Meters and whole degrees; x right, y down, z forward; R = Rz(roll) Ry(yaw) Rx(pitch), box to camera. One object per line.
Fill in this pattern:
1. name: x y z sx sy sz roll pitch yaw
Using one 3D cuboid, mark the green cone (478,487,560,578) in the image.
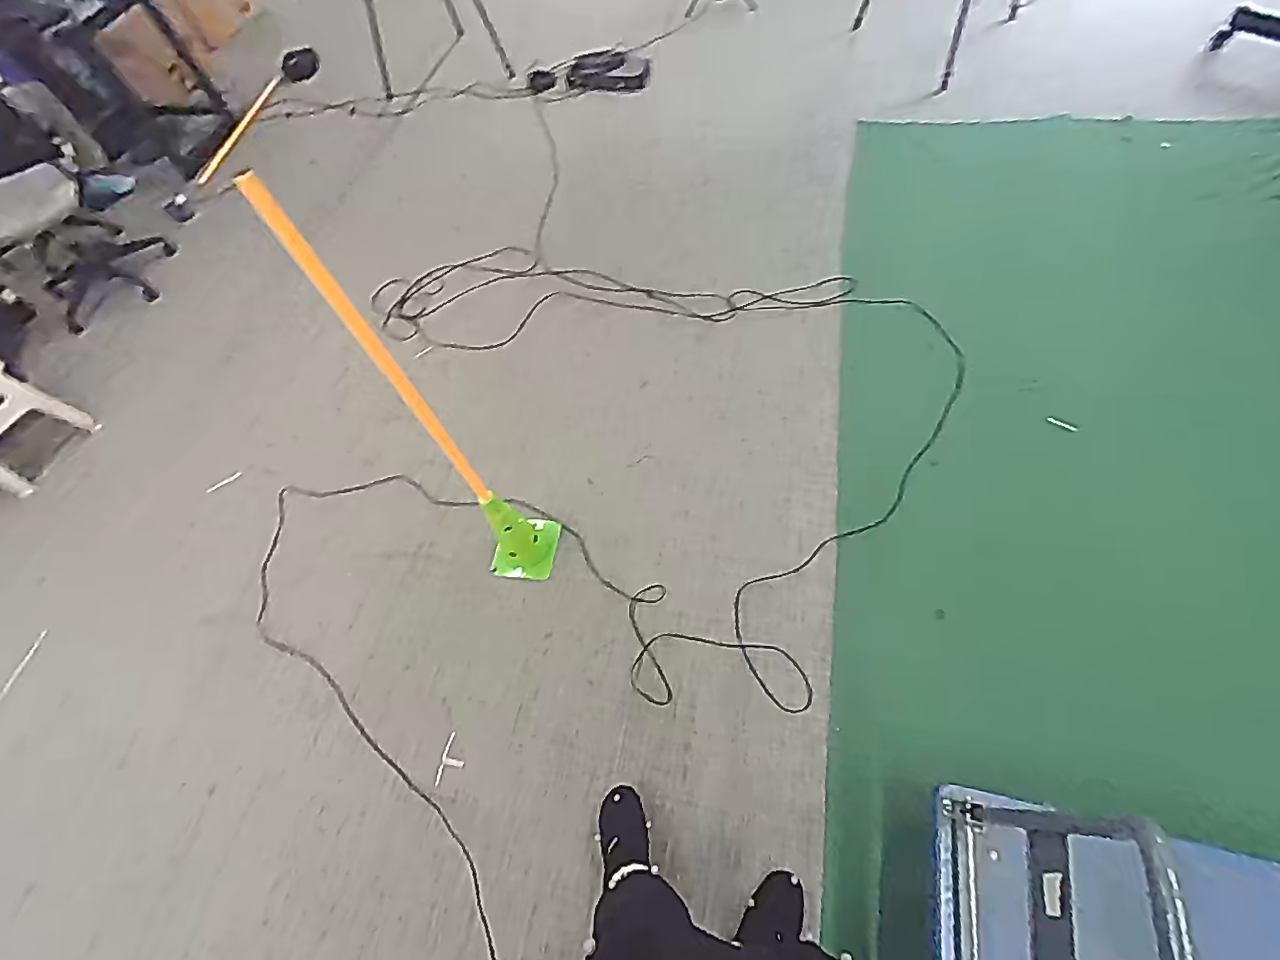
1. green cone: -0.392 0.131 1.601 0.200 0.368 0.202 3 60 10
